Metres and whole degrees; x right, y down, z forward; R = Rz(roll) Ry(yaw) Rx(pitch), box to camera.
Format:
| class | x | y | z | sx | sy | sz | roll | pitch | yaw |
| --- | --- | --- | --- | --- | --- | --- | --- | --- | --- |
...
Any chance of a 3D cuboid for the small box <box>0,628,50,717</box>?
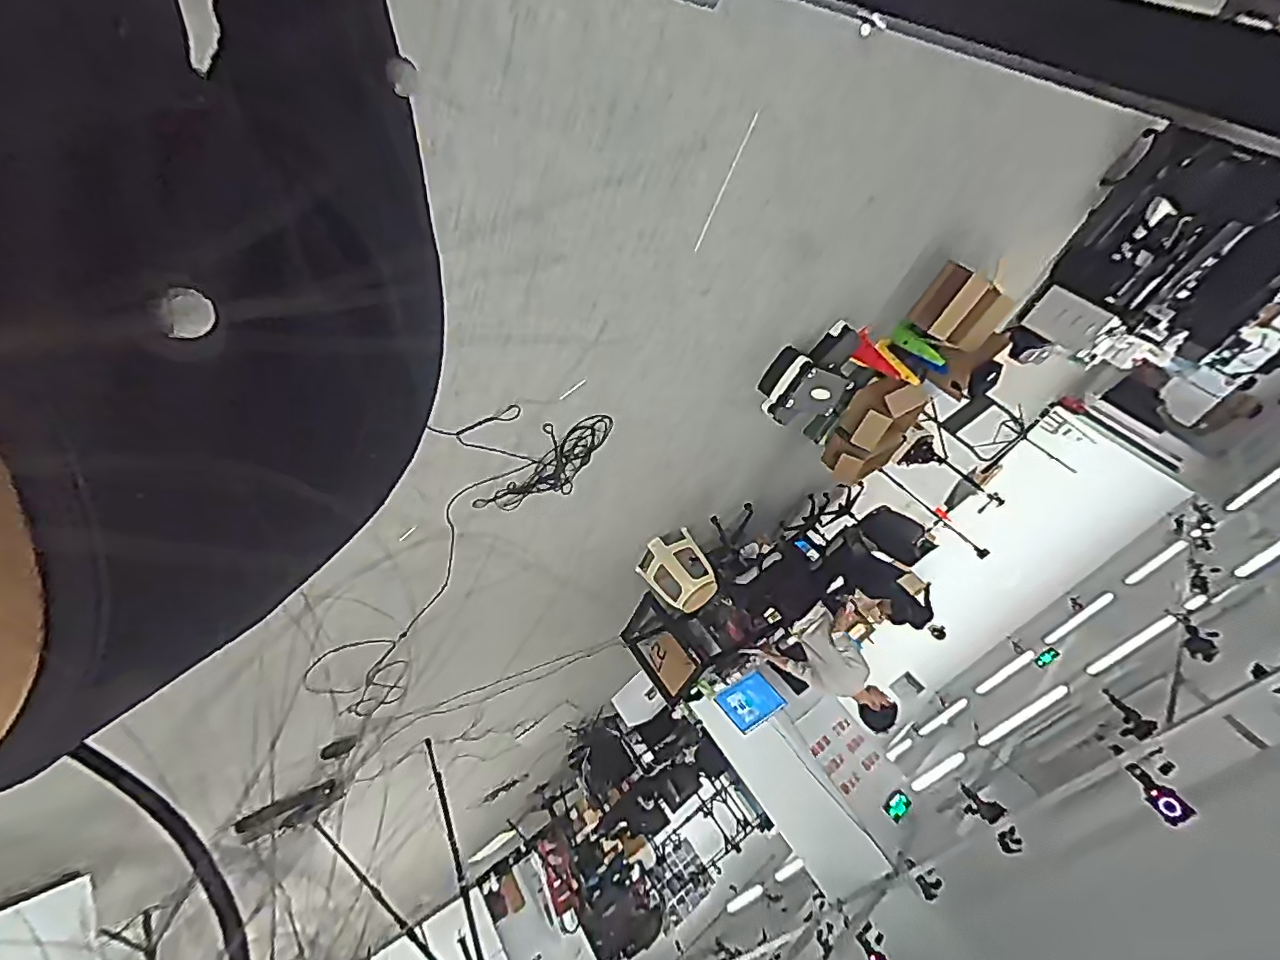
| class | x | y | z | sx | sy | sz | roll | pitch | yaw |
| --- | --- | --- | --- | --- | --- | --- | --- | --- | --- |
| small box | -1.749 | 0.524 | 1.463 | 0.168 | 0.176 | 0.179 | -15 | 142 | -37 |
